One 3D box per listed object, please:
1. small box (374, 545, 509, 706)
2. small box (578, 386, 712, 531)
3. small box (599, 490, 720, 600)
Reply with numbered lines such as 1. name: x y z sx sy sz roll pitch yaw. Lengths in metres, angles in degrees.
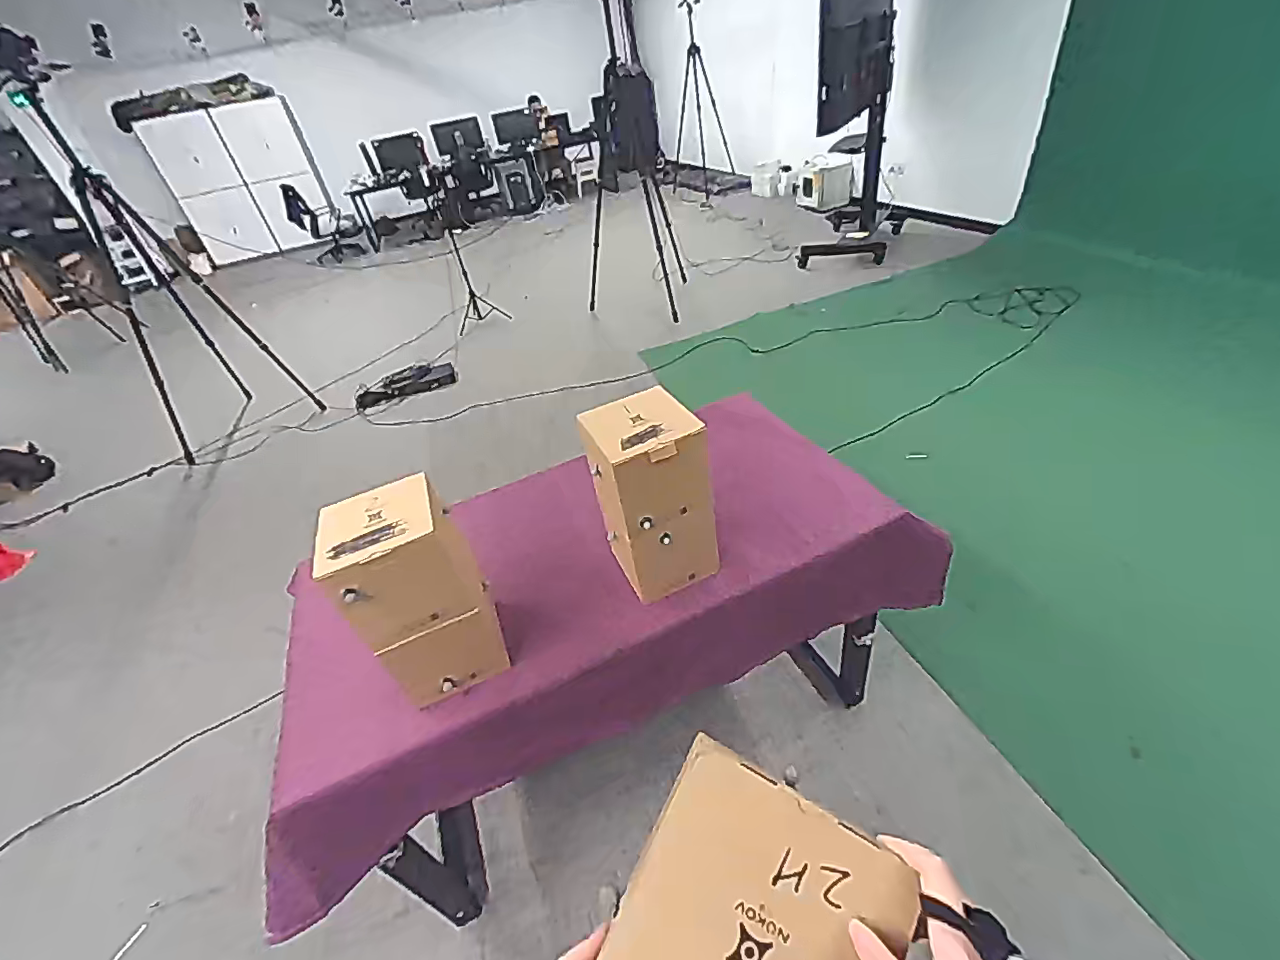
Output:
1. small box: -0.342 0.252 0.943 0.168 0.176 0.179 -21 39 -11
2. small box: 0.012 -0.033 0.938 0.168 0.176 0.179 -22 39 -13
3. small box: 0.038 0.095 1.039 0.168 0.176 0.179 -23 38 -12
